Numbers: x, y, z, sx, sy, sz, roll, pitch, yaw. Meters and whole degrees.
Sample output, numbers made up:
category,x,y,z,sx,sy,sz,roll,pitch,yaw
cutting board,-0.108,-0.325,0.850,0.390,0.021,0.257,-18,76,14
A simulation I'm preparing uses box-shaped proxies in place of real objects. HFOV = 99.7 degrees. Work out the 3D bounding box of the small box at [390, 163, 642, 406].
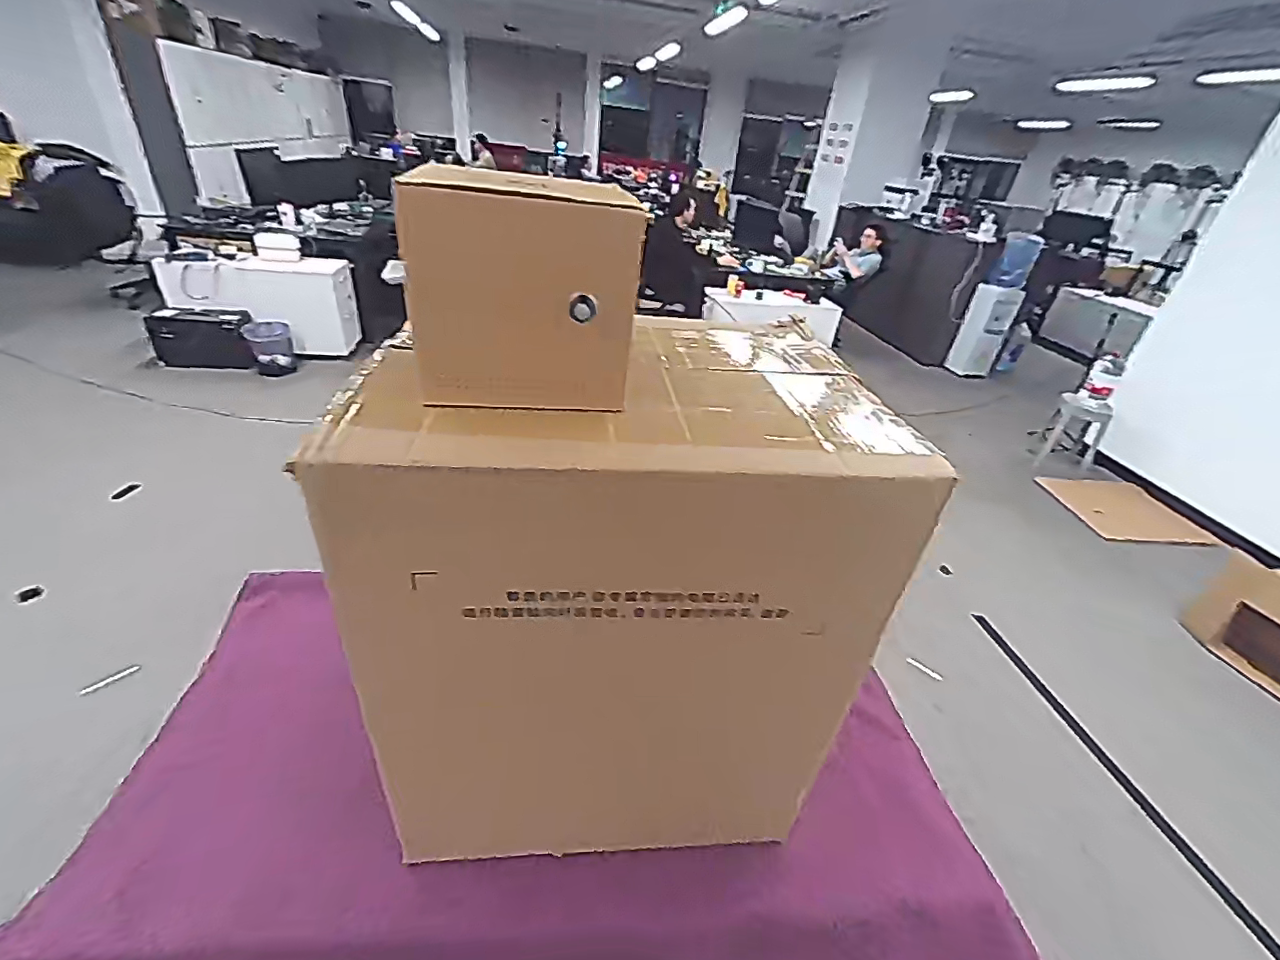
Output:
category,x,y,z,sx,sy,sz,roll,pitch,yaw
small box,-0.104,-0.174,0.486,0.179,0.176,0.168,-1,32,-11
